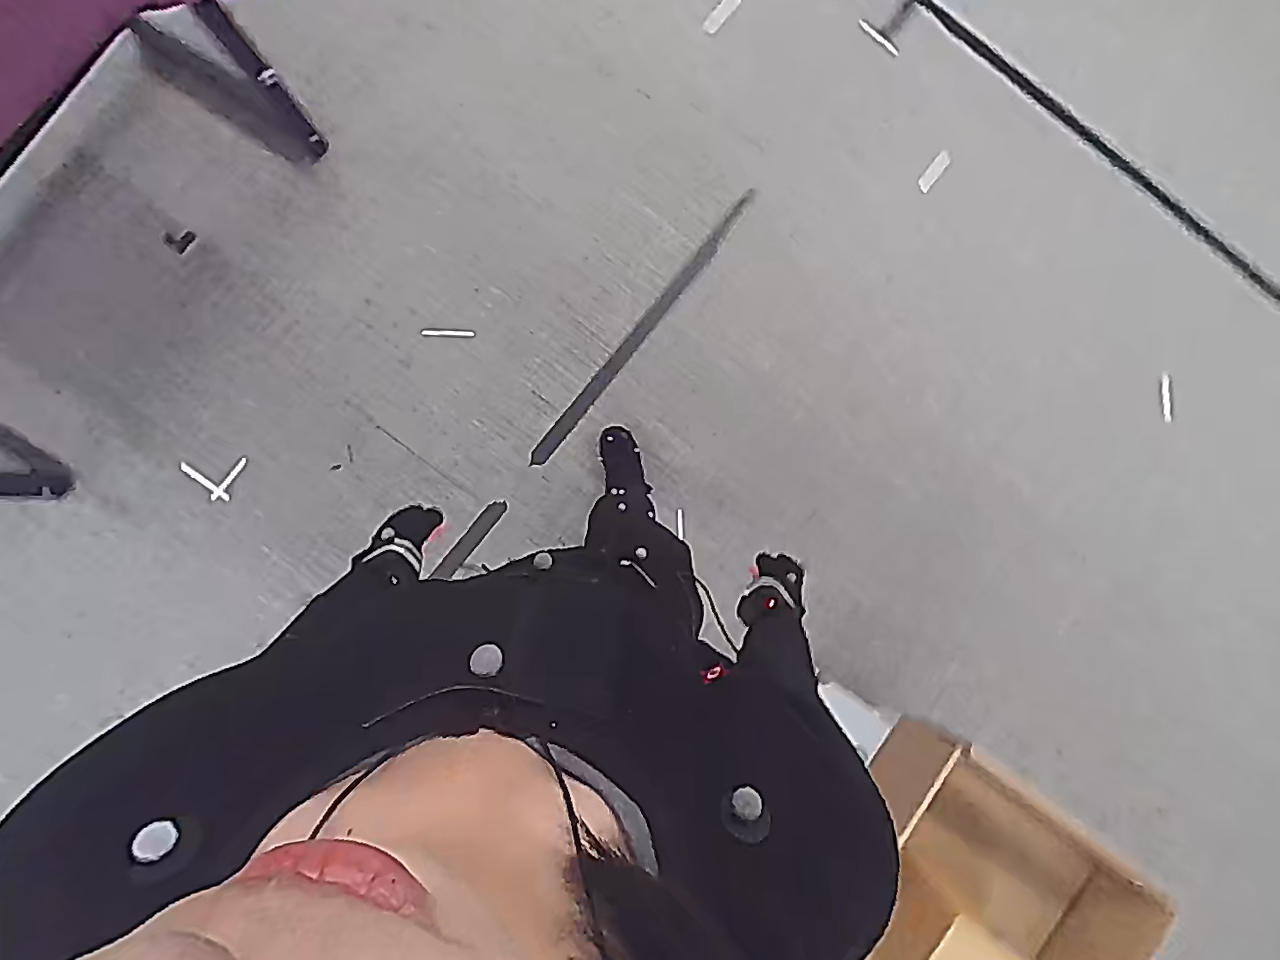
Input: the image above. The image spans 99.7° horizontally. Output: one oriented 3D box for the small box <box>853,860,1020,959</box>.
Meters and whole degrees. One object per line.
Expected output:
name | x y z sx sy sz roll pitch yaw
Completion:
small box | 0.470 0.746 0.834 0.179 0.176 0.168 38 85 4
